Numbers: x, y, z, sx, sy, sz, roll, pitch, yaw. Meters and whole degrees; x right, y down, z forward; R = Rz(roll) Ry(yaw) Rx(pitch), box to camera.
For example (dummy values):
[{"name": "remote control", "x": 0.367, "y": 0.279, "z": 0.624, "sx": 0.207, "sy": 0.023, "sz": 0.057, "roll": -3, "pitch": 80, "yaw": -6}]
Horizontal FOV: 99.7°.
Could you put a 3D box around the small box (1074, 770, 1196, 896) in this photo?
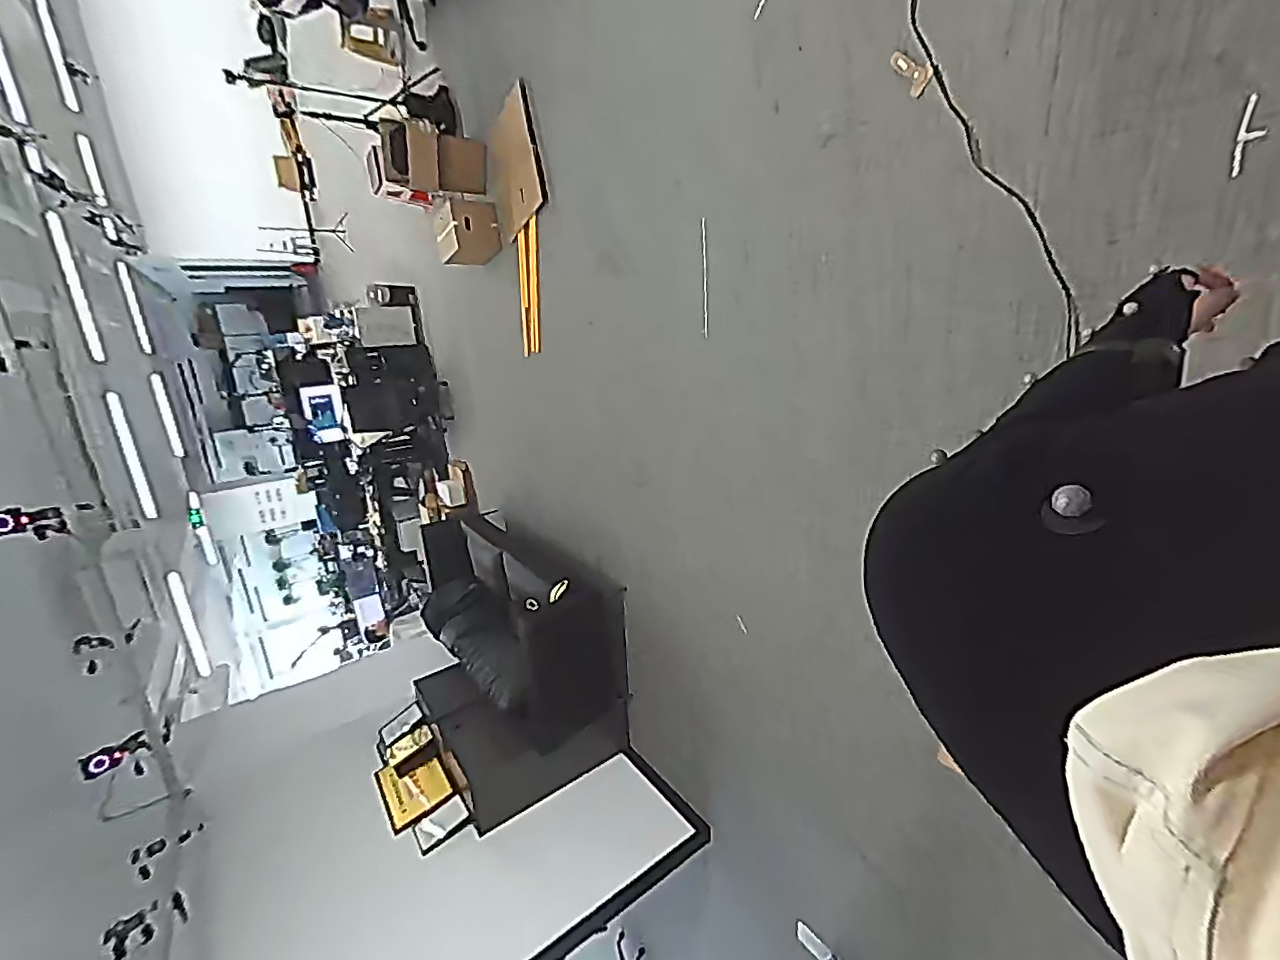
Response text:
[{"name": "small box", "x": 1.234, "y": 0.864, "z": 1.350, "sx": 0.179, "sy": 0.176, "sz": 0.168, "roll": 20, "pitch": 119, "yaw": 51}]
